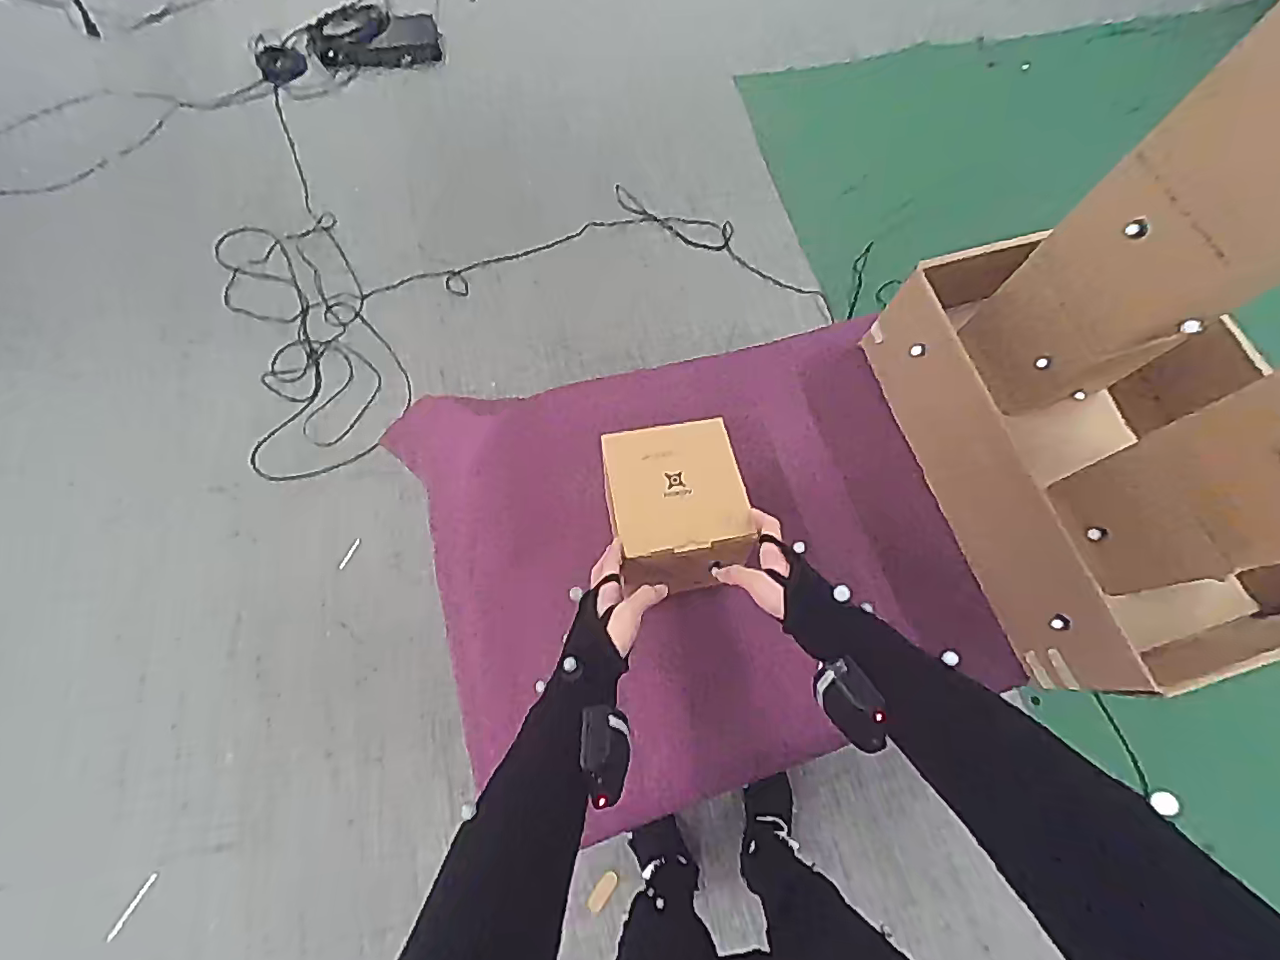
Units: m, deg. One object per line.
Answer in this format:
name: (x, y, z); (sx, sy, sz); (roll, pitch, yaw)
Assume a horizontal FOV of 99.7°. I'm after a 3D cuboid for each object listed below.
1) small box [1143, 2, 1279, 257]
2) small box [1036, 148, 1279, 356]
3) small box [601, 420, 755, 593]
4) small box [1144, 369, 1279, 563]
small box: (0.647, -0.333, 0.500); (0.168, 0.176, 0.179); (-15, 72, -7)
small box: (0.642, -0.282, 0.658); (0.168, 0.176, 0.179); (-17, 72, -6)
small box: (0.043, 0.045, 0.738); (0.168, 0.176, 0.179); (-8, 60, -6)
small box: (0.712, -0.022, 0.567); (0.168, 0.176, 0.179); (-16, 69, -5)
